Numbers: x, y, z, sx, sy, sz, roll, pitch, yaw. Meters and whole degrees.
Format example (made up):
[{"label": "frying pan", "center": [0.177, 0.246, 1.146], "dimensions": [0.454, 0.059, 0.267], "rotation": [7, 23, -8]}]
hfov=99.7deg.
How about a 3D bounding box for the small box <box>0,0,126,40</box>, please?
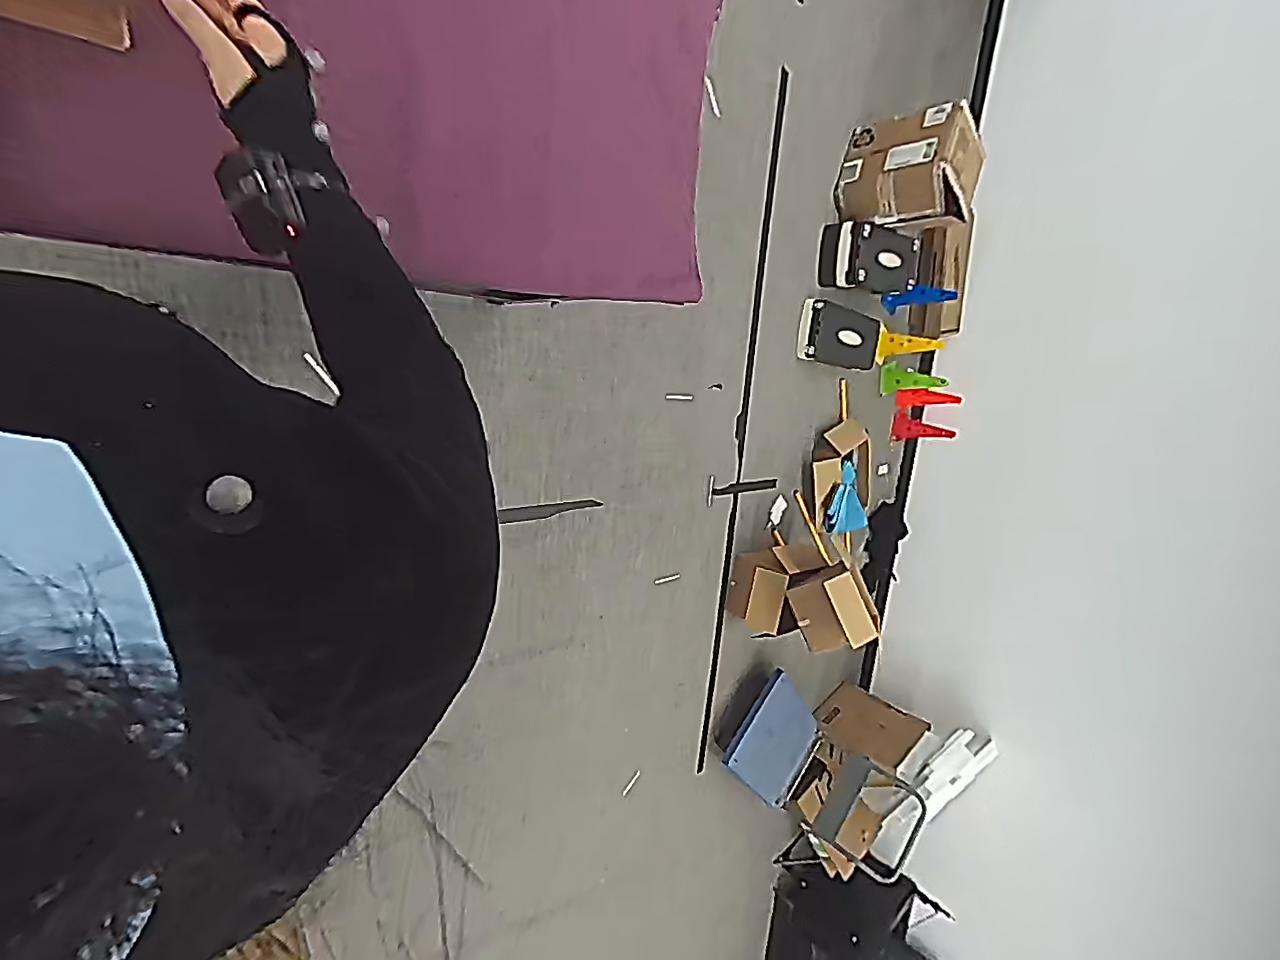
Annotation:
[{"label": "small box", "center": [-0.503, -0.465, 0.389], "dimensions": [0.179, 0.176, 0.168], "rotation": [-11, 110, -42]}]
